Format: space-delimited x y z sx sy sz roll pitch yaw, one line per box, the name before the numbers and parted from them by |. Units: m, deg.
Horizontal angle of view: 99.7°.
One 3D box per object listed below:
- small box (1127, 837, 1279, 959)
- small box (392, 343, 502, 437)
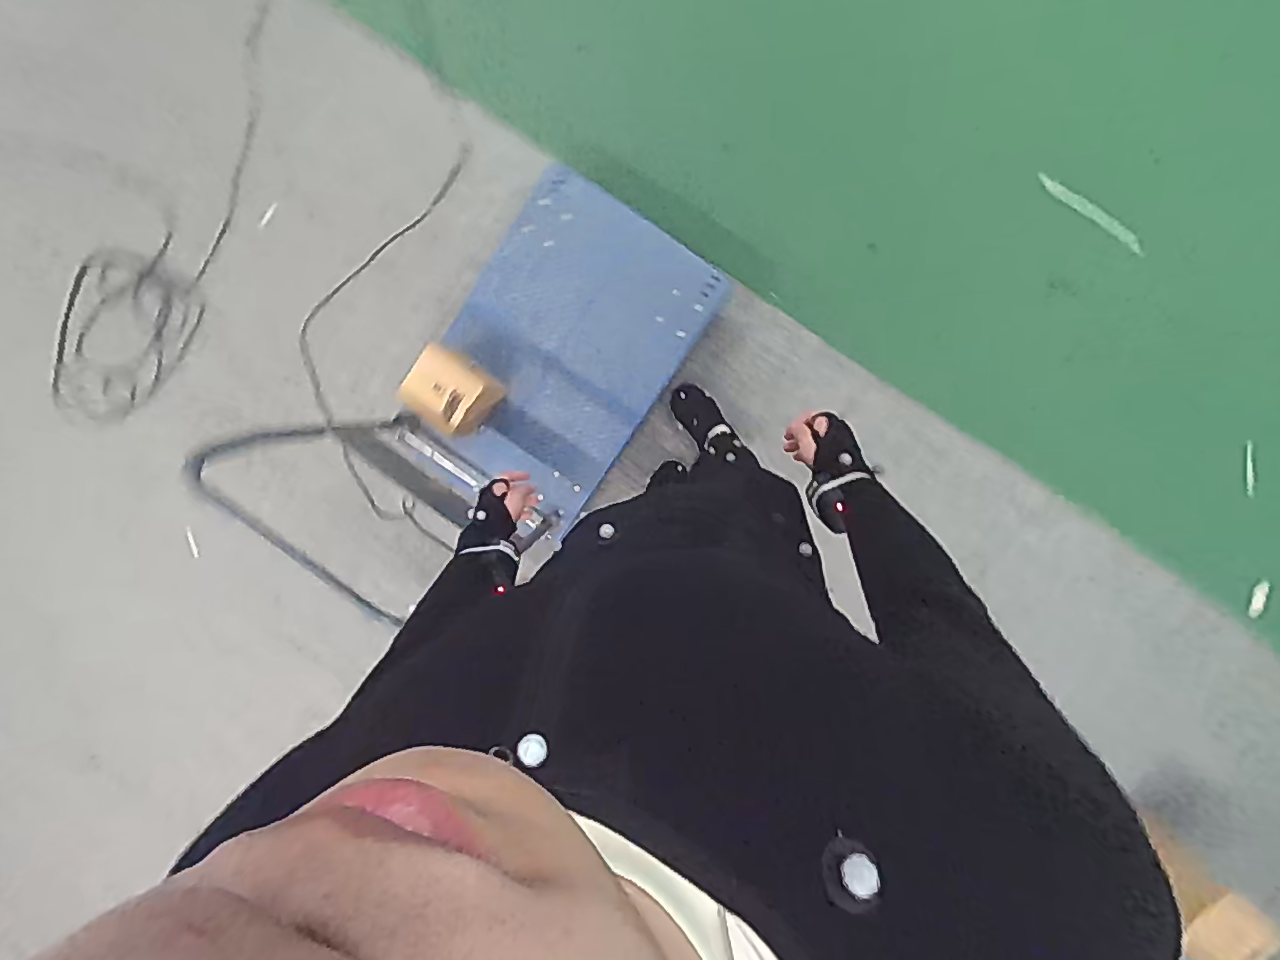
small box | 1.420 1.061 1.378 0.179 0.176 0.168 39 98 2
small box | -0.485 -0.228 1.391 0.179 0.176 0.168 37 98 1
